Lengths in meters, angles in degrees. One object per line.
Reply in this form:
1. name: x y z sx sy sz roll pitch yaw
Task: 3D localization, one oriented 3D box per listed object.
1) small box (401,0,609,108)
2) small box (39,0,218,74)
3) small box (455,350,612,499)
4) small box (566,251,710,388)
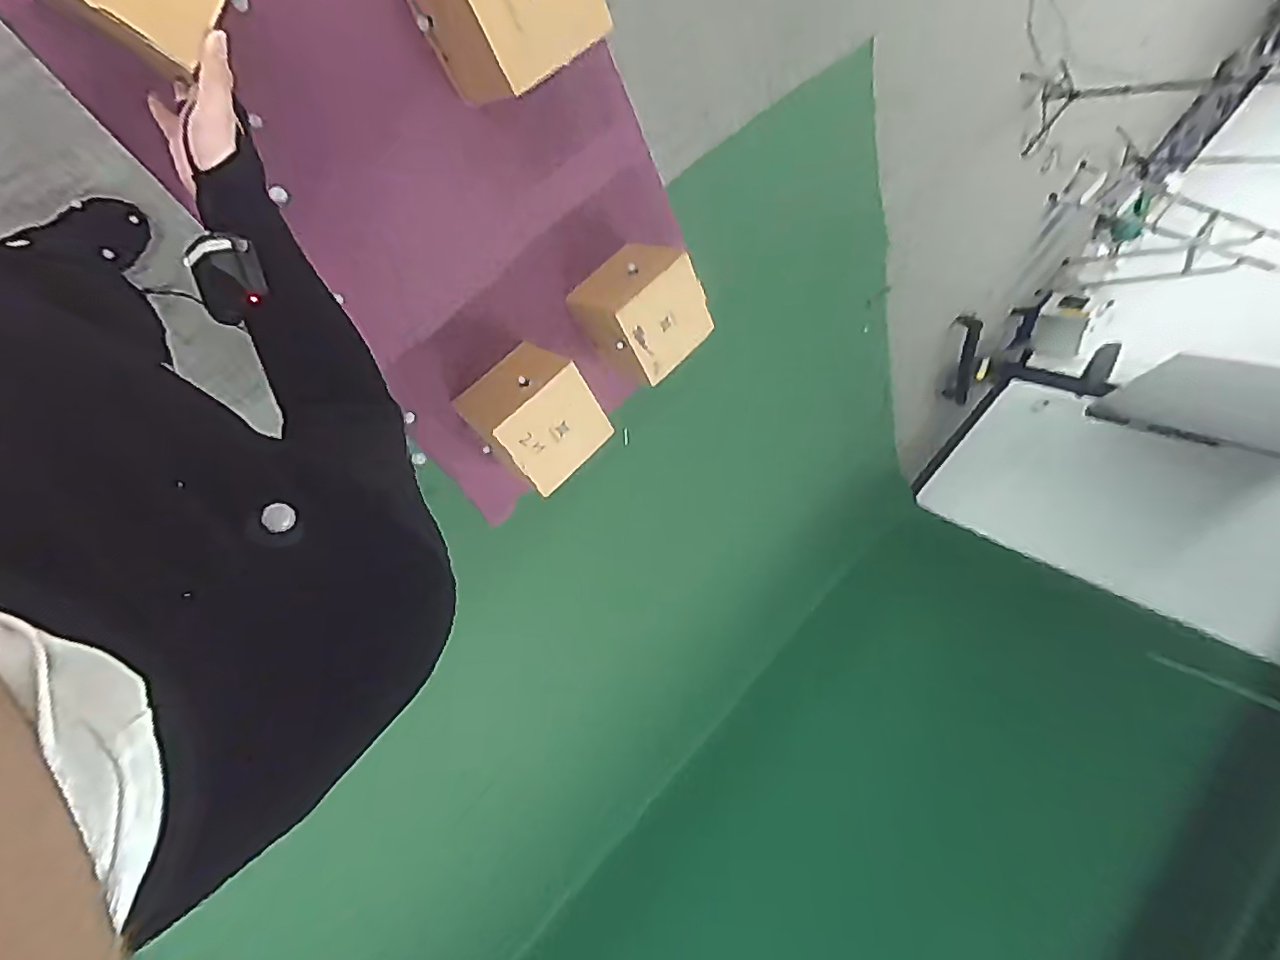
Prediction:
1. small box: -0.177 -0.606 0.686 0.179 0.176 0.168 -44 134 -13
2. small box: -0.430 -0.460 0.417 0.168 0.176 0.179 21 101 -53
3. small box: -0.188 -0.105 0.946 0.179 0.176 0.168 -44 133 -15
4. small box: -0.004 -0.304 1.005 0.179 0.176 0.168 -46 134 -13
